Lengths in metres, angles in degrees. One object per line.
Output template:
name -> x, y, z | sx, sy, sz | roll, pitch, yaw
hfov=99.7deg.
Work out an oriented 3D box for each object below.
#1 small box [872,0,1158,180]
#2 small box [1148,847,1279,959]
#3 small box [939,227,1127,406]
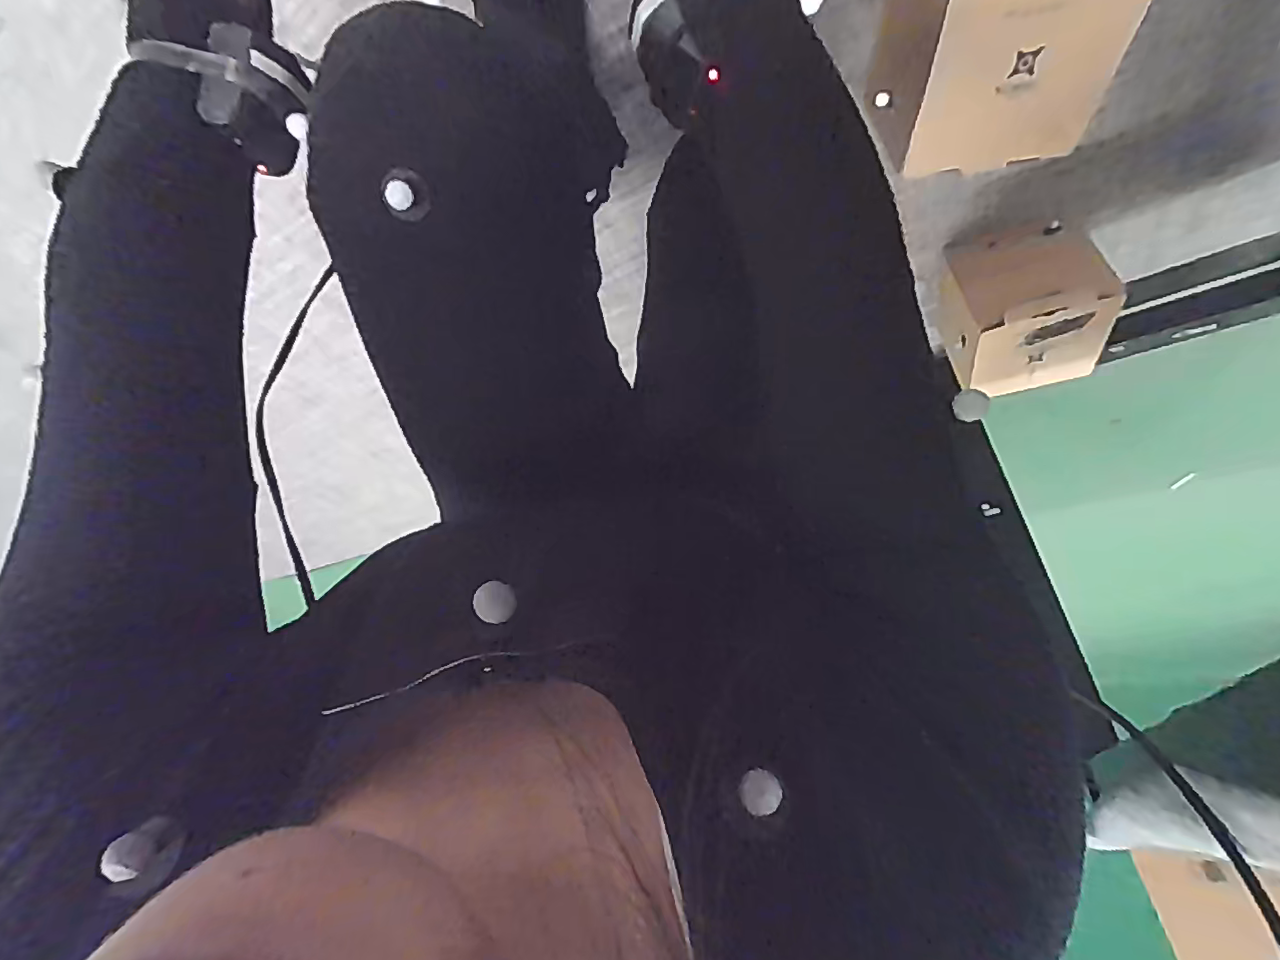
small box -> 0.334, -0.424, 0.512 | 0.168, 0.176, 0.179 | -5, 146, 6
small box -> 0.552, 0.372, 0.401 | 0.179, 0.176, 0.168 | 10, 144, -15
small box -> 0.558, -0.243, 0.799 | 0.168, 0.176, 0.179 | -12, 147, 19
